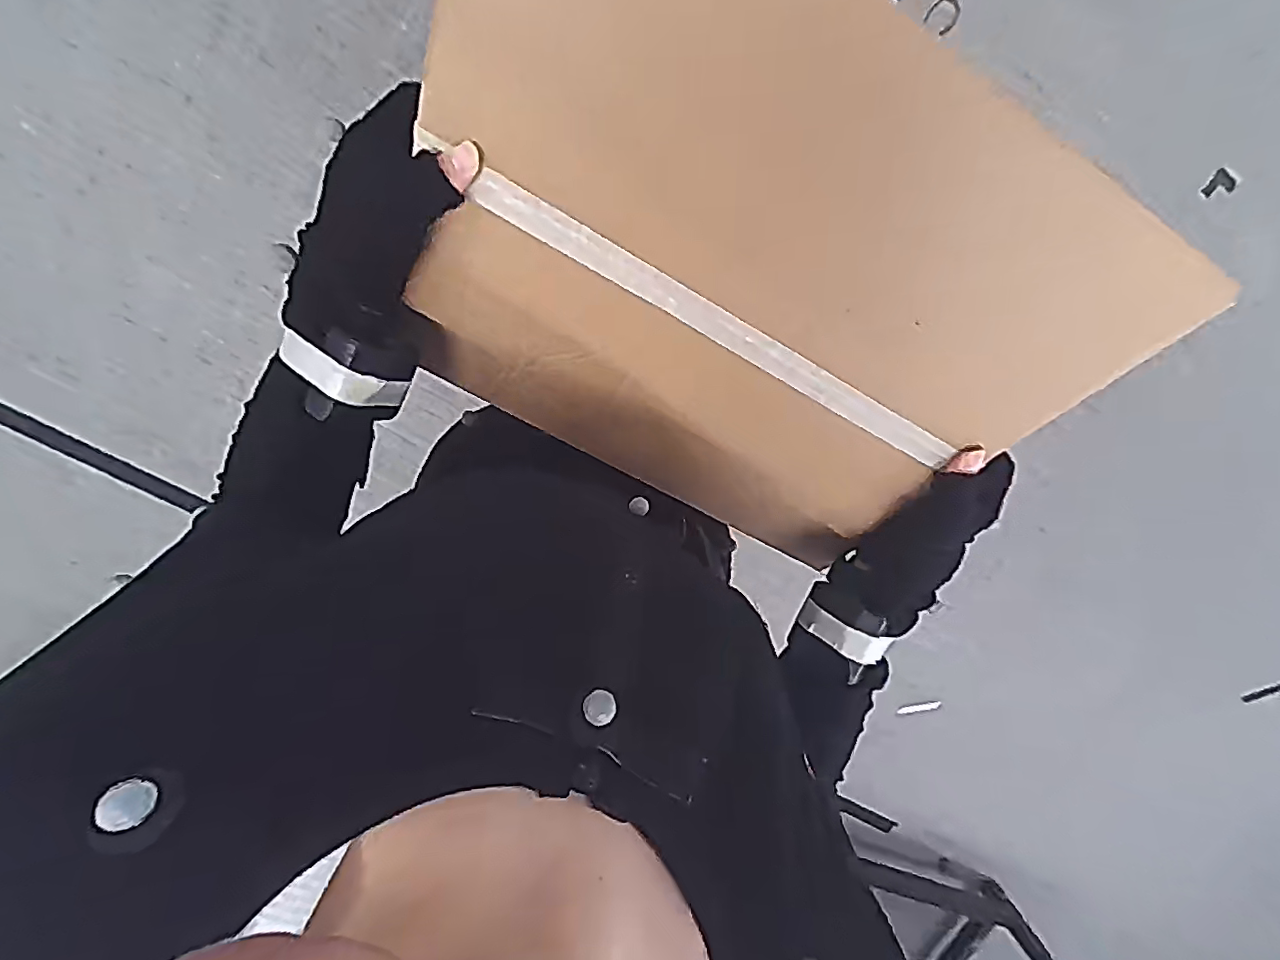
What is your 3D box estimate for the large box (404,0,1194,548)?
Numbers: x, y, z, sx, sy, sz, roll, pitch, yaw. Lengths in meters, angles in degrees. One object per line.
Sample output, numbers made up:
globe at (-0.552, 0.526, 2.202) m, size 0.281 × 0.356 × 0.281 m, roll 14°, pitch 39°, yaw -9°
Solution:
large box at (0.085, -0.209, 0.450) m, size 0.408 × 0.320 × 0.320 m, roll 26°, pitch 136°, yaw -12°
